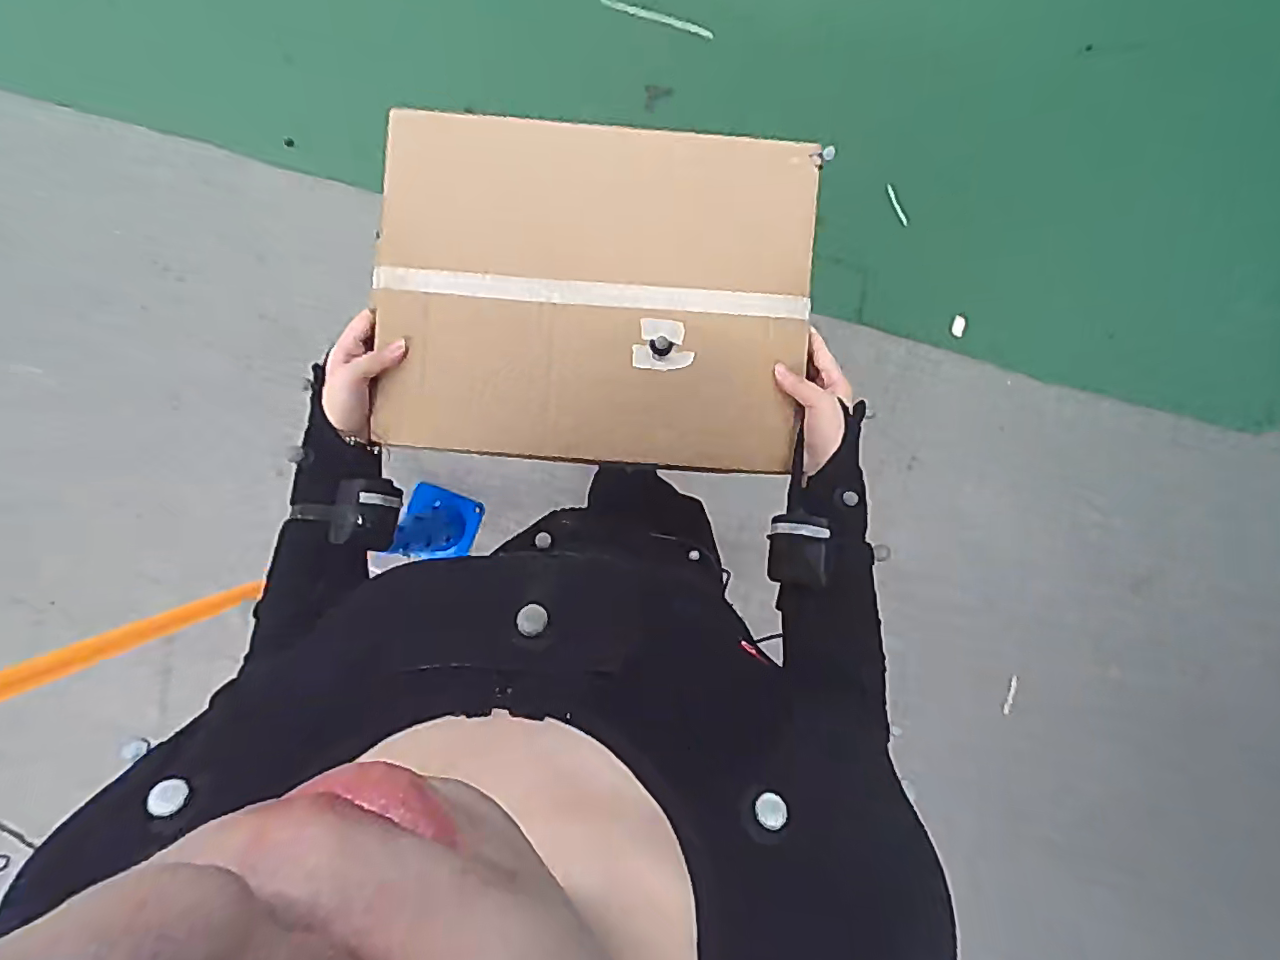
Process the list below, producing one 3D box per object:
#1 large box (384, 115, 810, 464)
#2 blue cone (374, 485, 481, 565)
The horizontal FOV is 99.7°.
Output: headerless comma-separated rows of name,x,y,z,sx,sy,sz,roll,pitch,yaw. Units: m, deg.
large box,-0.046,-0.185,0.667,0.408,0.320,0.320,3,91,-2
blue cone,-0.545,0.125,1.311,0.193,0.380,0.192,23,90,-1
